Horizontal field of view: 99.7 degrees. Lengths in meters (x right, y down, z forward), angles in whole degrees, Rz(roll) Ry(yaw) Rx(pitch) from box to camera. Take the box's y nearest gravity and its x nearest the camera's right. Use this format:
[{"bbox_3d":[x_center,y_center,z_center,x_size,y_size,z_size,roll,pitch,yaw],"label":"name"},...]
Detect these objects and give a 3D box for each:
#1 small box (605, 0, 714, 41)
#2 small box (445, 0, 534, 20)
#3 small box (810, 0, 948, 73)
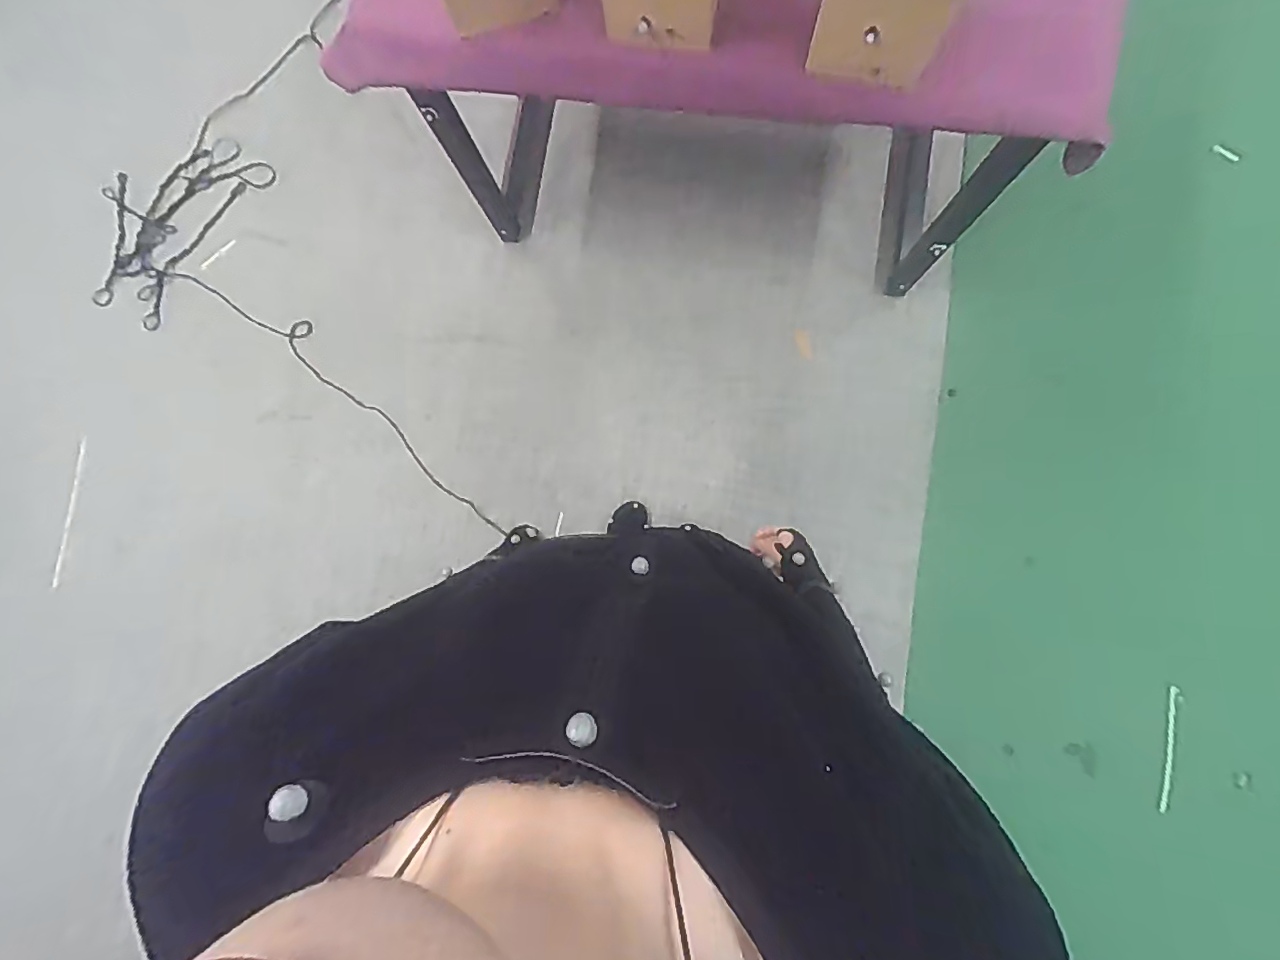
[{"bbox_3d":[0.033,-0.791,0.775,0.168,0.176,0.179,10,86,6],"label":"small box"},{"bbox_3d":[-0.243,-0.839,0.797,0.179,0.176,0.168,-15,85,3],"label":"small box"},{"bbox_3d":[0.346,-0.714,0.746,0.168,0.176,0.179,15,87,5],"label":"small box"}]
